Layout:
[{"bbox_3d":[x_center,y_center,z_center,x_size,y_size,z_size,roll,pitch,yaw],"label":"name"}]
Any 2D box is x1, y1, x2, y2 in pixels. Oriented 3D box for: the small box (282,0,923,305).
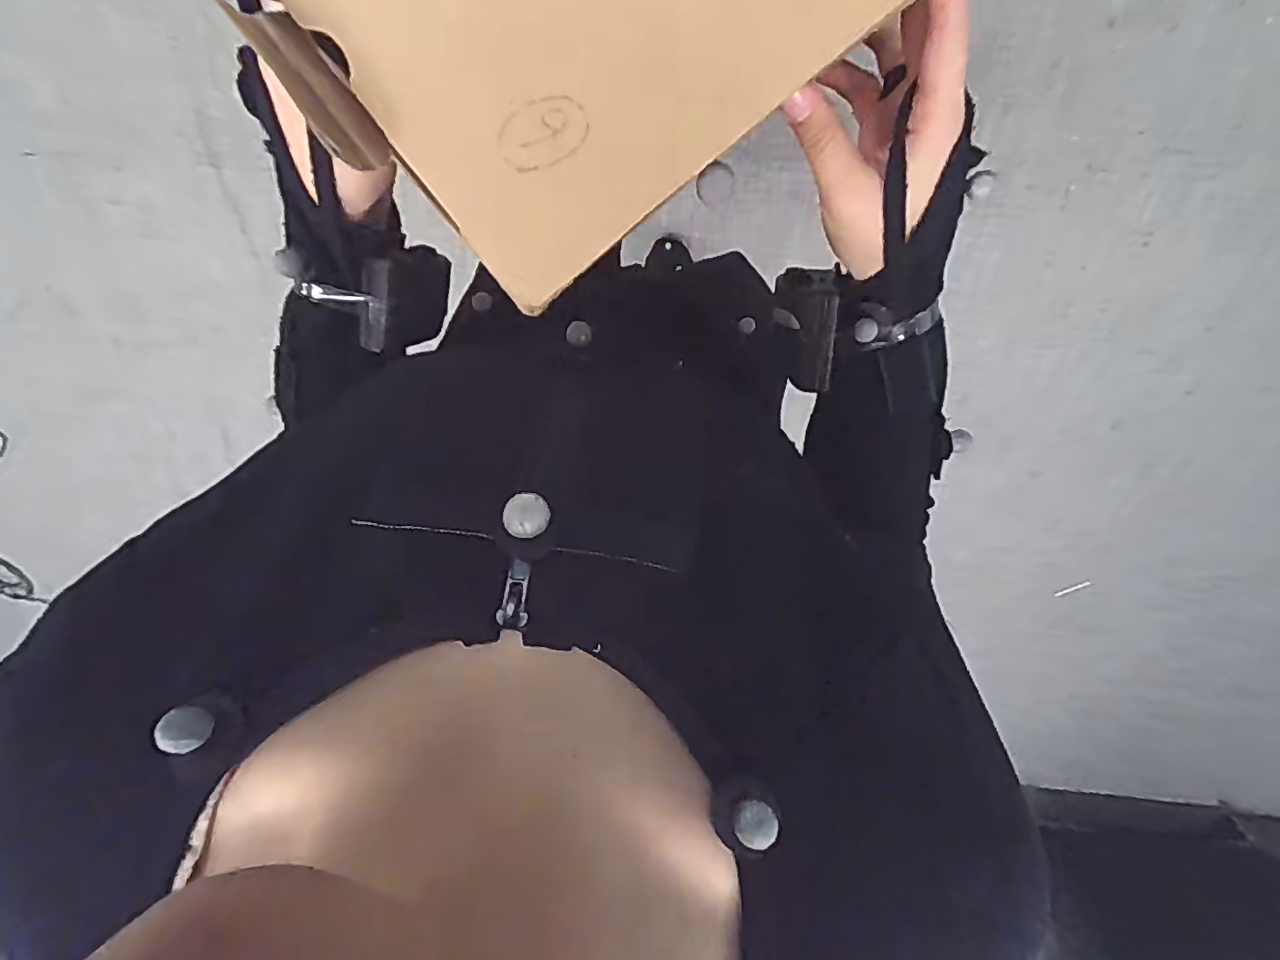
[{"bbox_3d":[-0.008,-0.197,0.203,0.179,0.176,0.168,-32,111,21],"label":"small box"}]
